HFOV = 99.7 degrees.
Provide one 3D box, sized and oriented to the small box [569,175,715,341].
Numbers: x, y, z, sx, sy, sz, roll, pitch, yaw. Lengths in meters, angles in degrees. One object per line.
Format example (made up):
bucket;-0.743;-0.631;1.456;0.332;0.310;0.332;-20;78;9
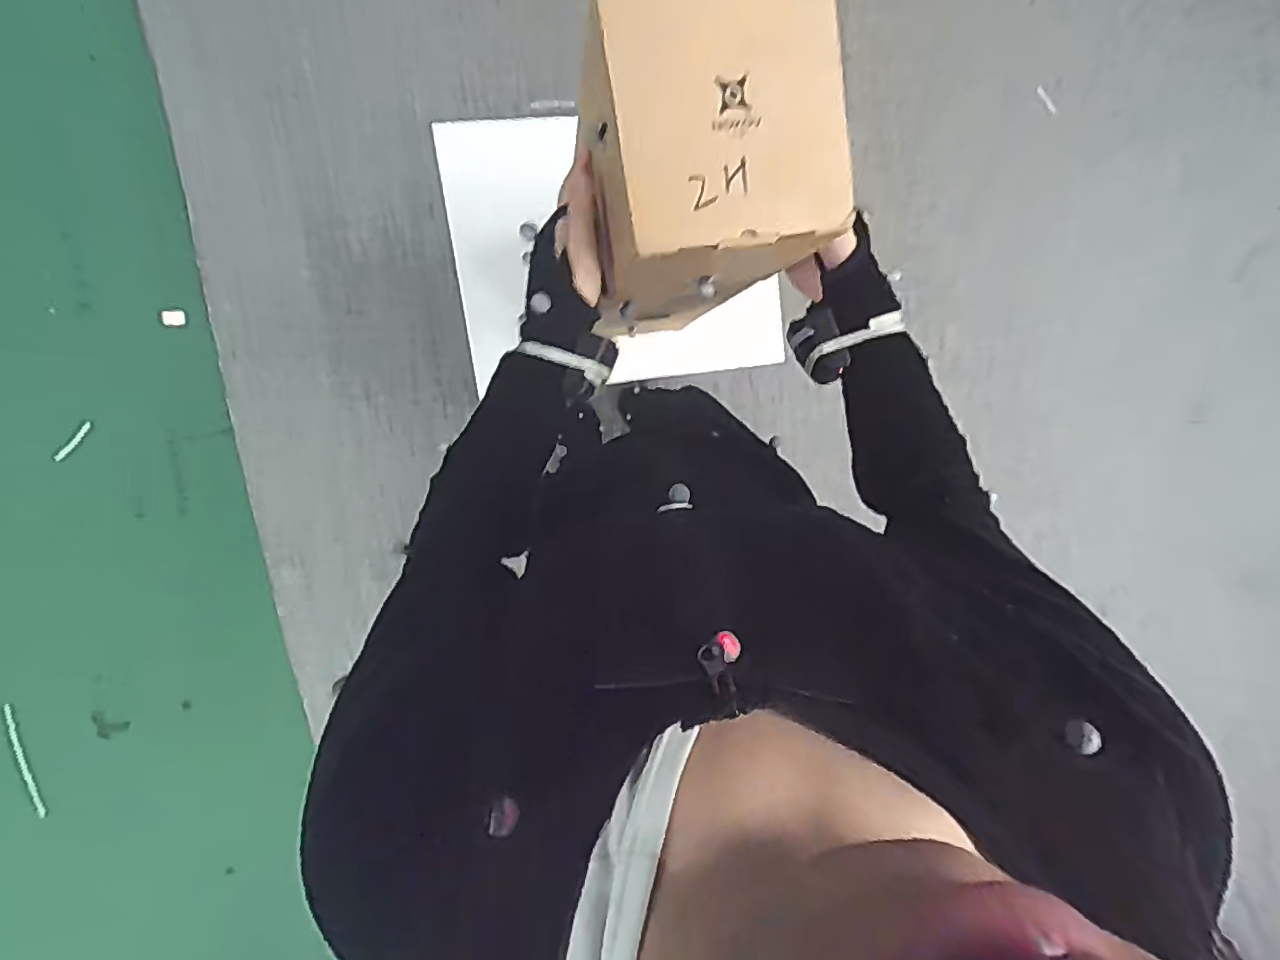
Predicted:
small box;-0.006;-0.303;0.757;0.168;0.176;0.179;-8;98;-8

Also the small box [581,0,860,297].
small box;0.049;-0.263;0.435;0.168;0.176;0.179;-11;98;-8
